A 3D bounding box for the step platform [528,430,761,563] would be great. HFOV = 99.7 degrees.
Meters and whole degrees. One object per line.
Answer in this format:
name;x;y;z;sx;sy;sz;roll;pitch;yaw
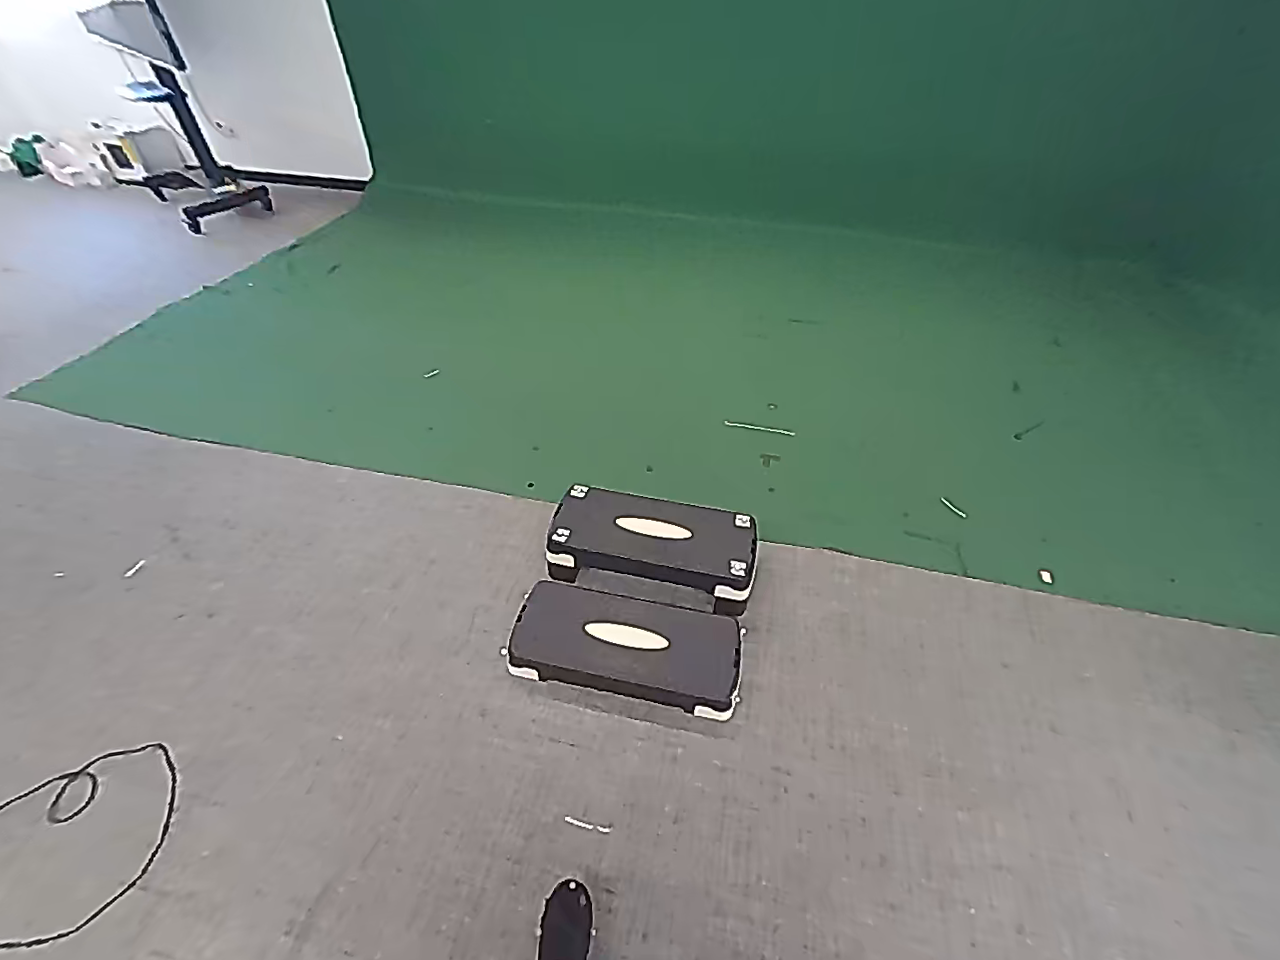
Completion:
step platform;0.016;0.048;1.674;0.684;0.204;0.286;9;45;8
